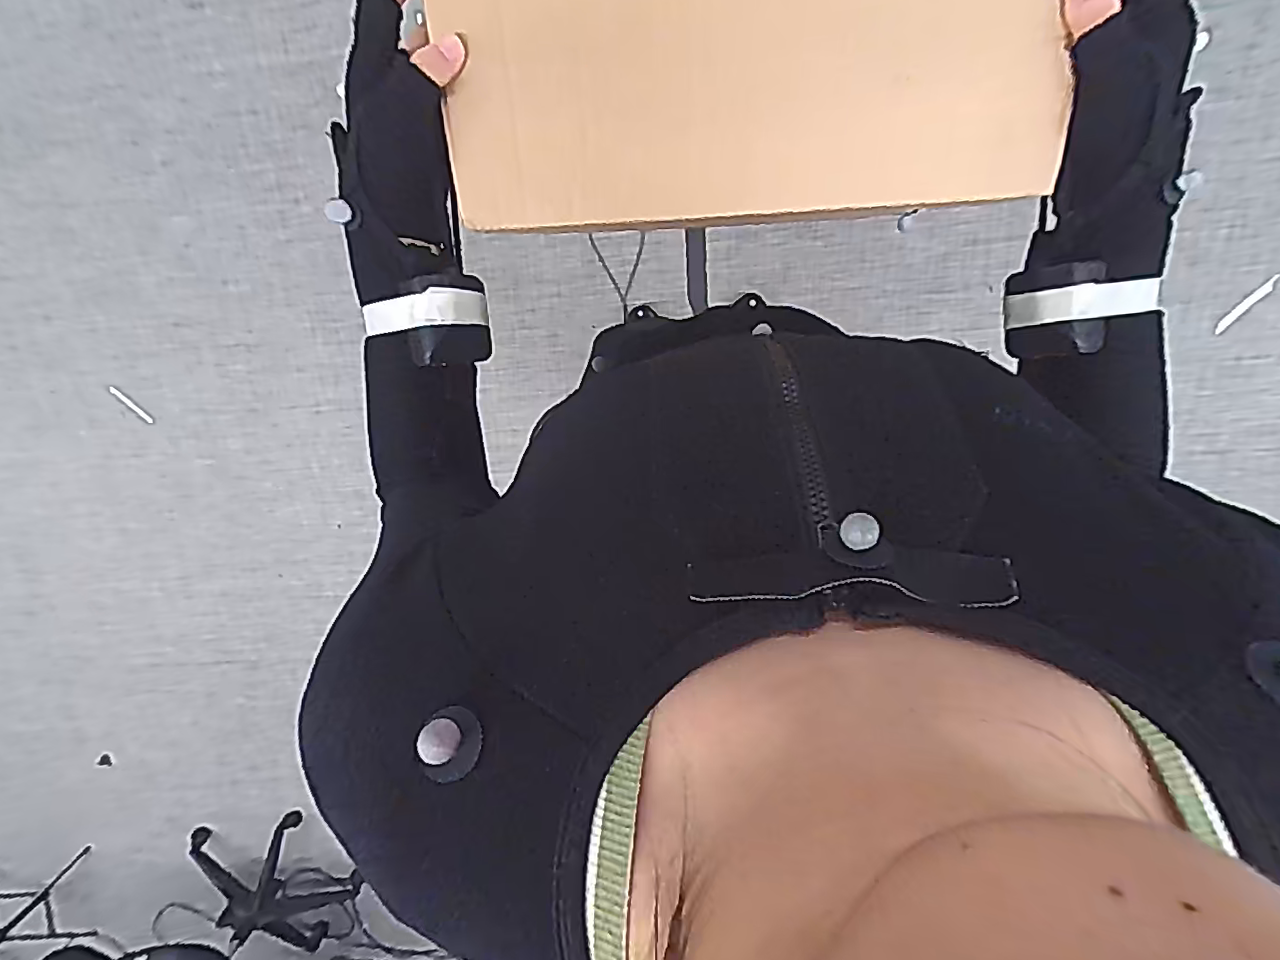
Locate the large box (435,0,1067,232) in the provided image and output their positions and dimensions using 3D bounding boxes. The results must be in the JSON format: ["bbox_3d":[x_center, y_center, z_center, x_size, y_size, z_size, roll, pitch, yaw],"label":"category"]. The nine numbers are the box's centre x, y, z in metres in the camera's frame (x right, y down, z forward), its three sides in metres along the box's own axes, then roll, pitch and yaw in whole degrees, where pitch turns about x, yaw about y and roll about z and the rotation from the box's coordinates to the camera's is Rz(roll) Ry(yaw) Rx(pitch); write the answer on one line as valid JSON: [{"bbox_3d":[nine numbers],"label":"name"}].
[{"bbox_3d":[0.072,-0.395,0.460,0.408,0.320,0.320,-2,114,3],"label":"large box"}]
